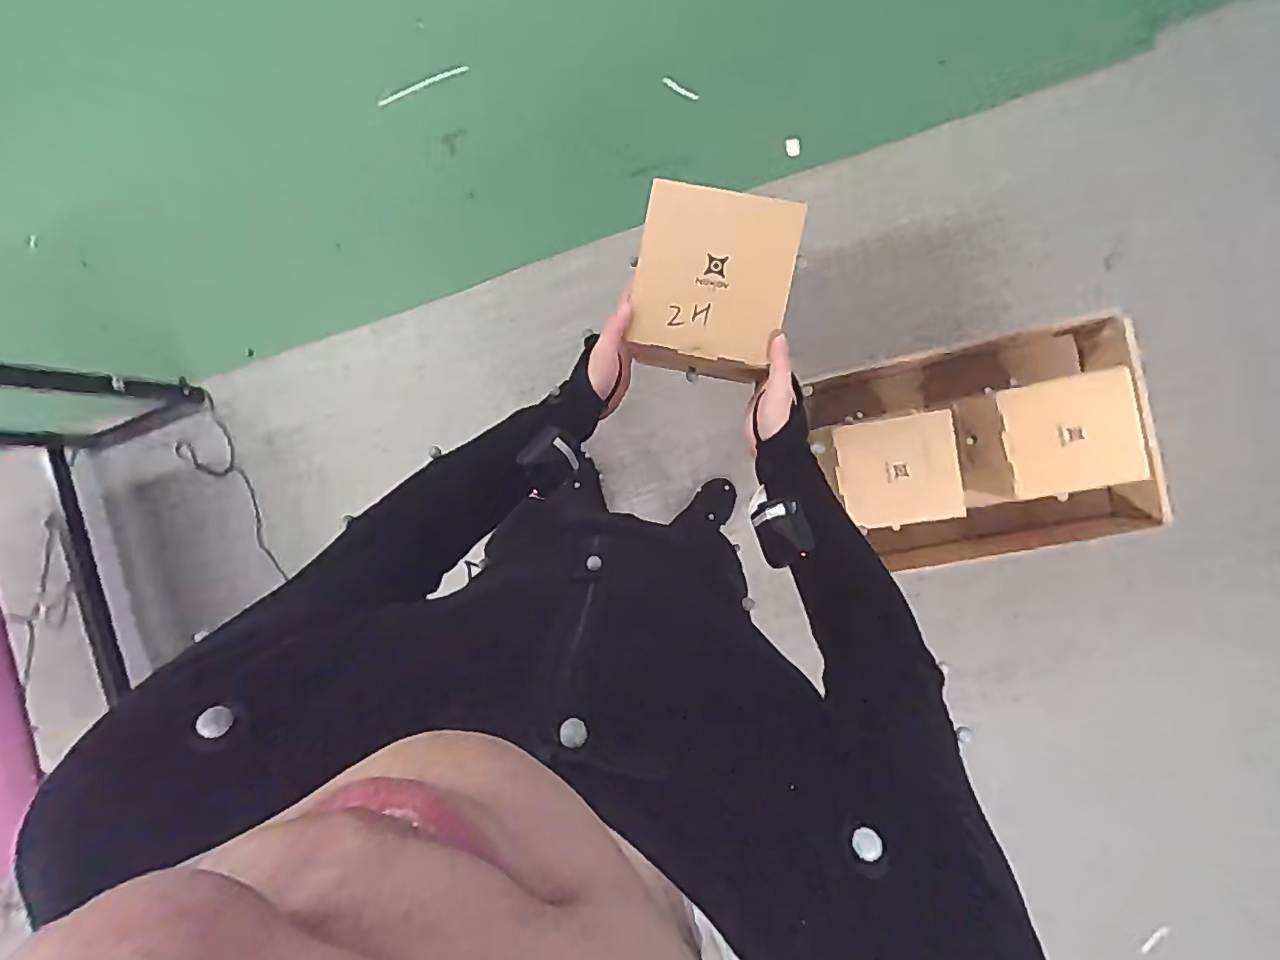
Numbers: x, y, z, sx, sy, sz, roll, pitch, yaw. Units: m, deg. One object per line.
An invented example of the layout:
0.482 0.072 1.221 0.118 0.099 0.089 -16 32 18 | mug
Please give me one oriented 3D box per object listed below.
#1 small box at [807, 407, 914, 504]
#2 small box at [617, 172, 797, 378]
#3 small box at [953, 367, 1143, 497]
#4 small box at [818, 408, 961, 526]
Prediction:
0.435 -0.041 1.065 0.179 0.176 0.168 -11 91 9 | small box
0.074 -0.231 0.652 0.168 0.176 0.179 11 95 3 | small box
0.639 -0.075 0.868 0.179 0.176 0.168 -11 91 12 | small box
0.403 -0.022 0.906 0.179 0.176 0.168 -9 92 9 | small box
